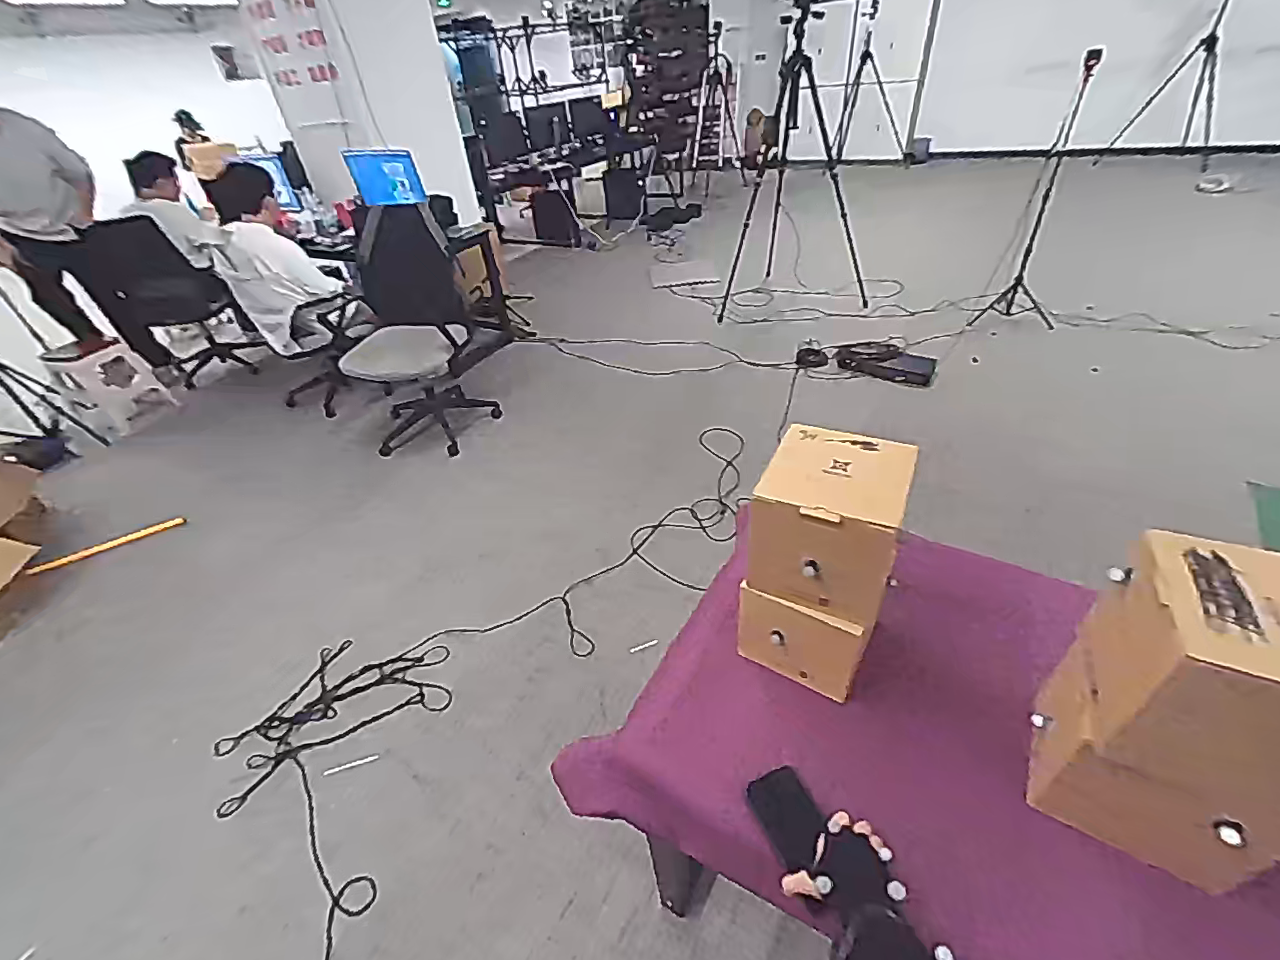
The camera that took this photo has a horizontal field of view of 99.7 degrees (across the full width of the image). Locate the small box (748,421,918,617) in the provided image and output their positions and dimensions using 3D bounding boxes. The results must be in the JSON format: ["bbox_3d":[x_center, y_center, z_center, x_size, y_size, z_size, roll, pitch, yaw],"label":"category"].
[{"bbox_3d":[0.249,0.049,0.710,0.168,0.176,0.179,15,43,25],"label":"small box"}]

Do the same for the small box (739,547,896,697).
[{"bbox_3d":[0.260,0.184,0.804,0.168,0.176,0.179,18,44,29],"label":"small box"}]

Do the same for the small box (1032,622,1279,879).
[{"bbox_3d":[0.574,0.299,0.601,0.179,0.176,0.168,18,43,29],"label":"small box"}]
